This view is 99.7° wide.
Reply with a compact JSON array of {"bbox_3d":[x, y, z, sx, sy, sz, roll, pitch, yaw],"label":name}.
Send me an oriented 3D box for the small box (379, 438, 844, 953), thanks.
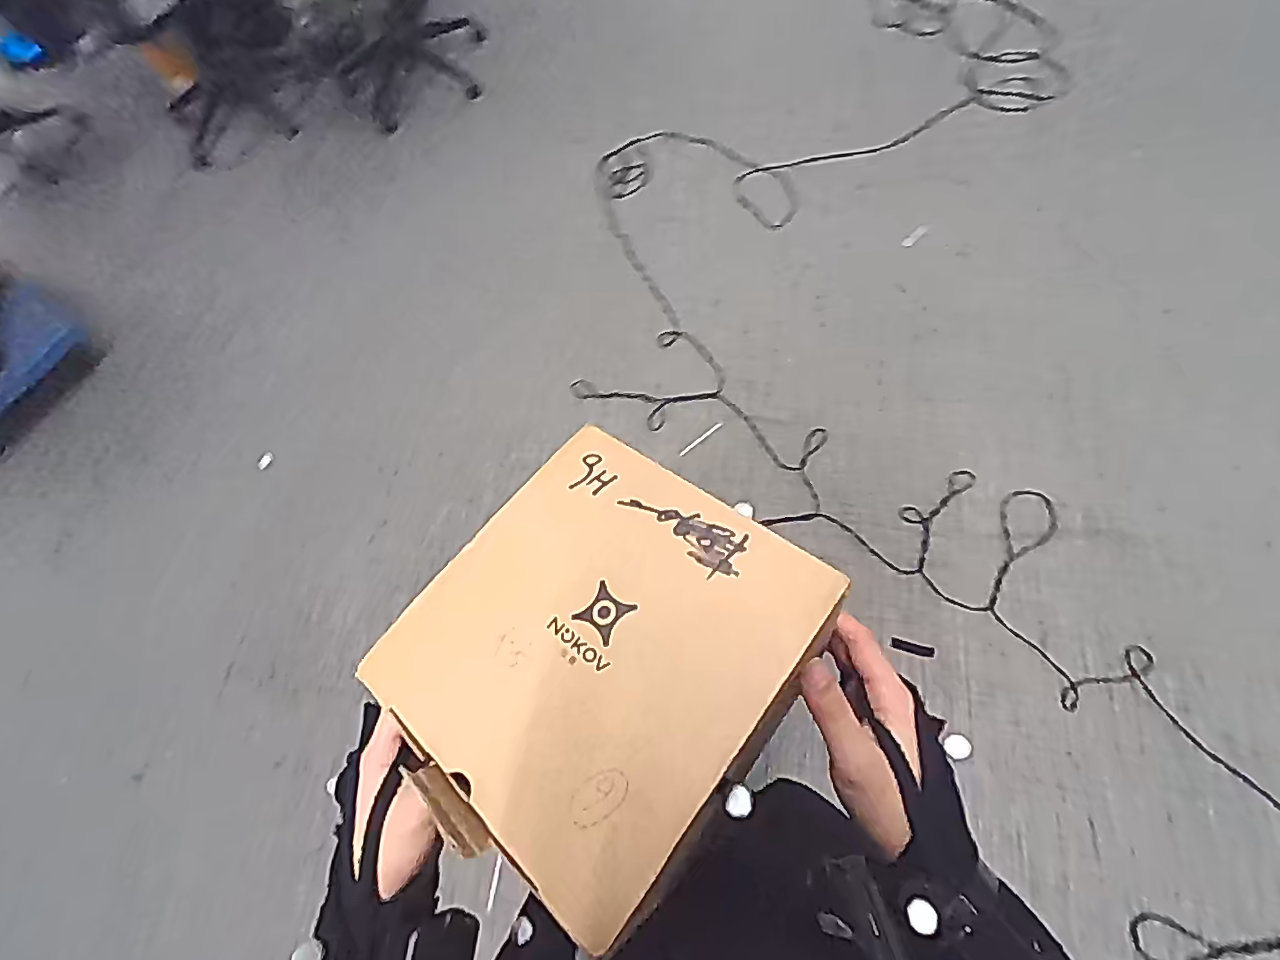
[{"bbox_3d":[-0.003,0.115,0.325,0.168,0.176,0.179,33,72,27],"label":"small box"}]
